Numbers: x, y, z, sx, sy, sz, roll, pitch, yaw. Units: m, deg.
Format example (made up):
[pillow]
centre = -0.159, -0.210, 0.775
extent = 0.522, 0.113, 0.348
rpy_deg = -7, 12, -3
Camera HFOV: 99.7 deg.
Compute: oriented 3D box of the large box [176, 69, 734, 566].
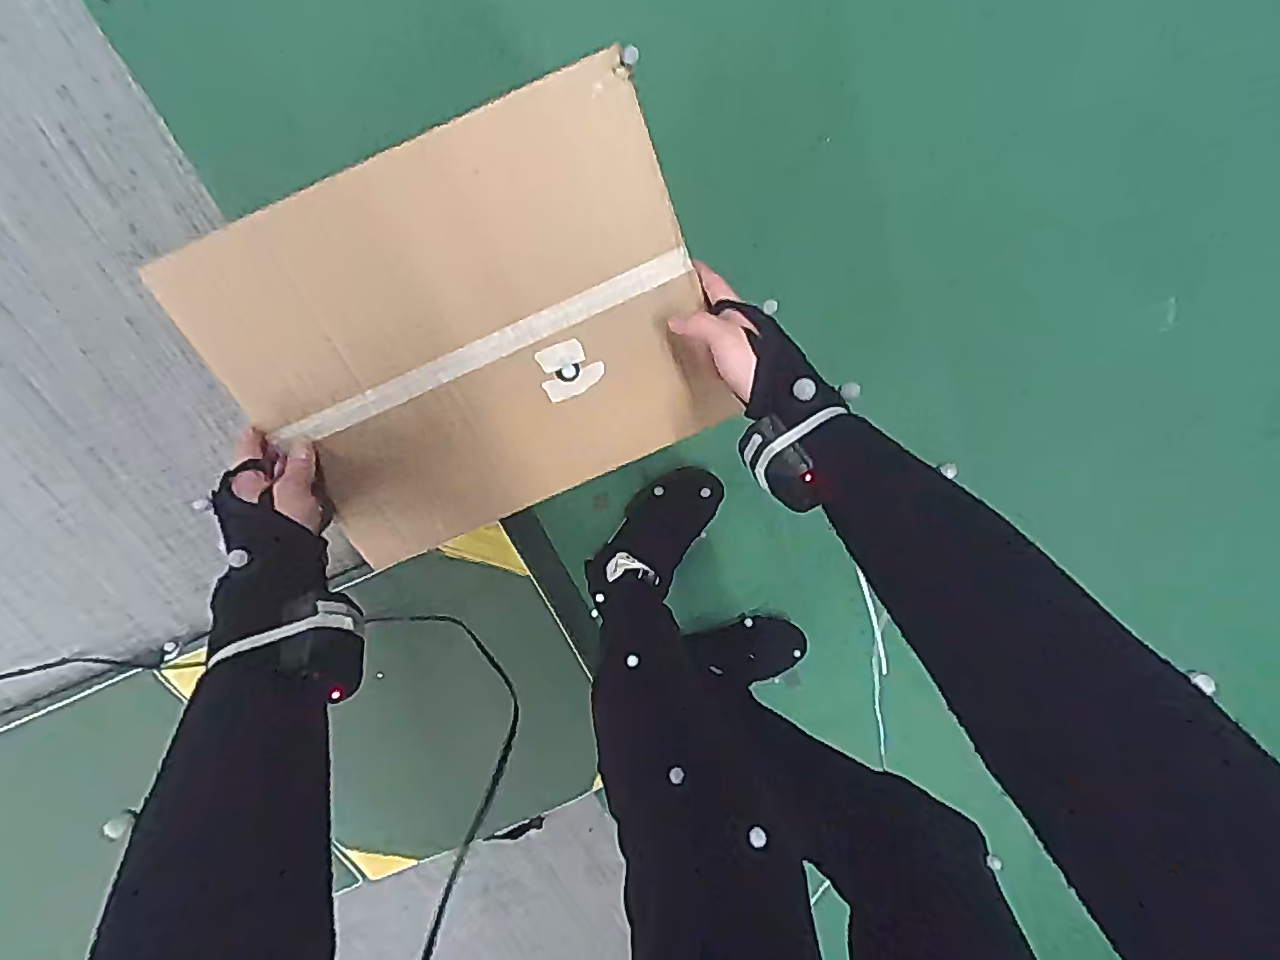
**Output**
[large box]
centre = -0.163, -0.173, 0.624
extent = 0.408, 0.320, 0.320
rpy_deg = -24, 117, 2
